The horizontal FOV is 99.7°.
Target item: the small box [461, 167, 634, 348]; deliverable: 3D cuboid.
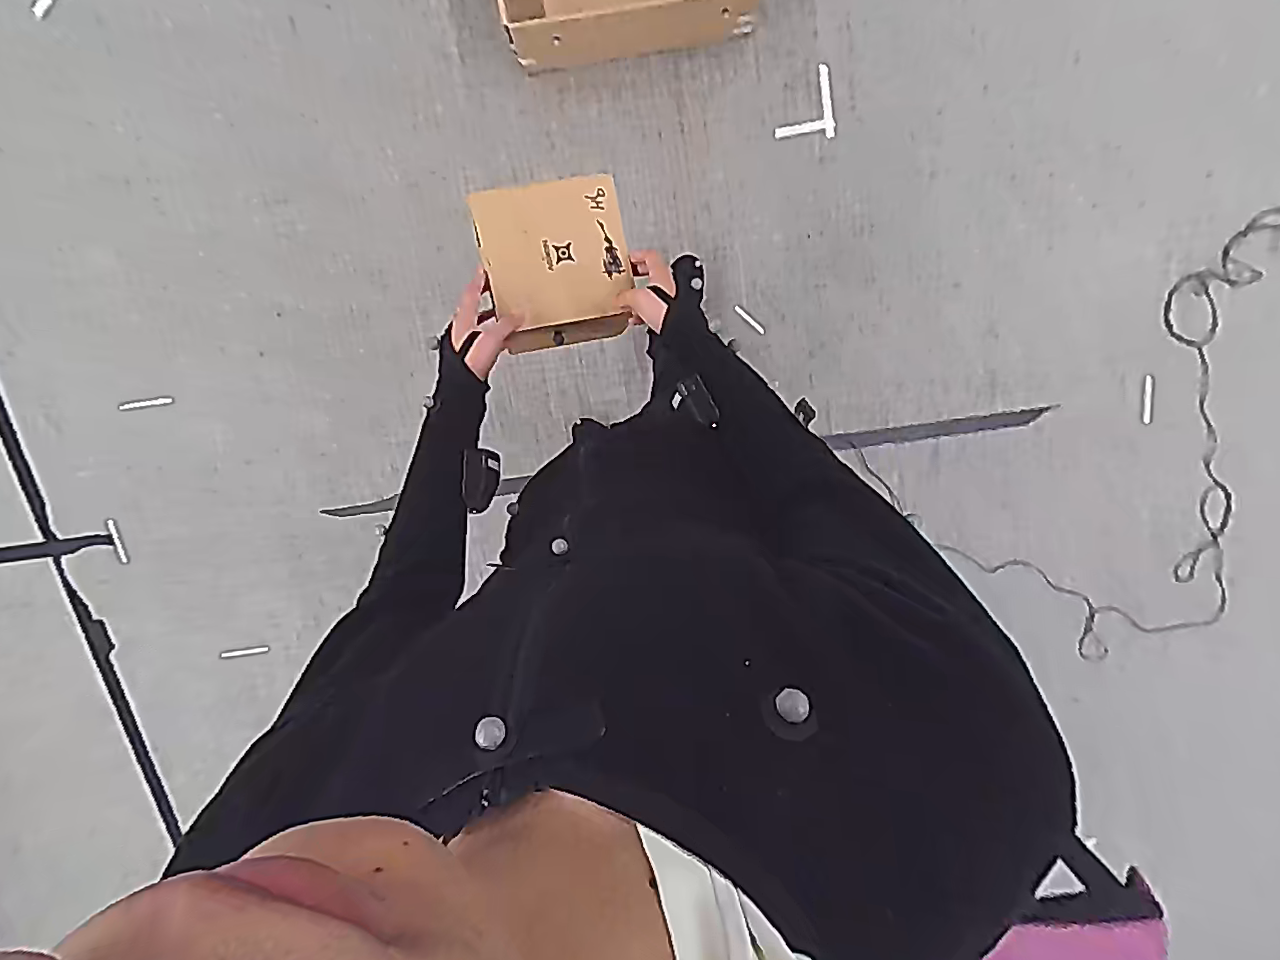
[{"bbox_3d":[-0.117,-0.279,0.714,0.179,0.176,0.168,-13,97,-8],"label":"small box"}]
